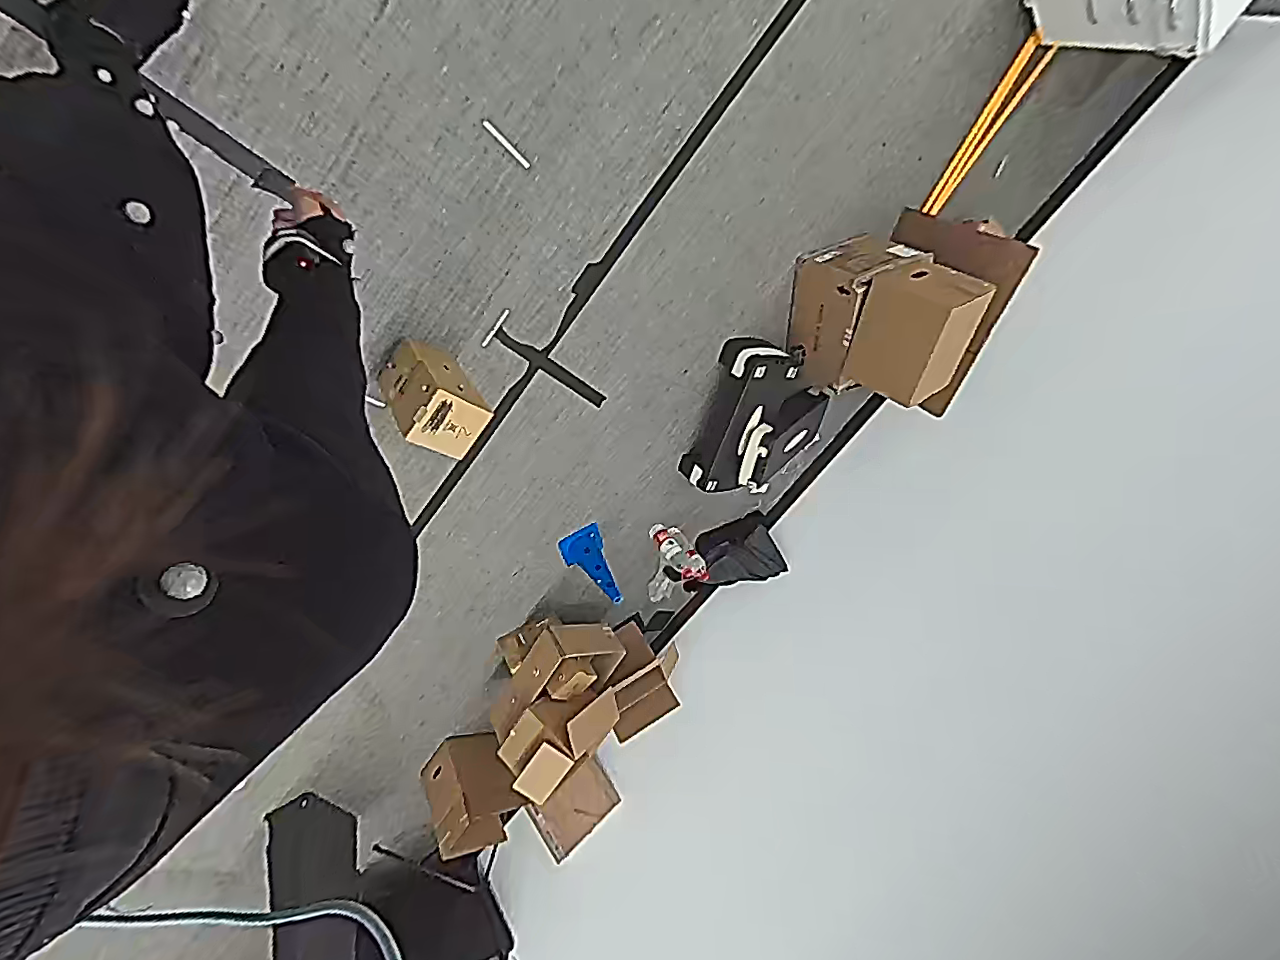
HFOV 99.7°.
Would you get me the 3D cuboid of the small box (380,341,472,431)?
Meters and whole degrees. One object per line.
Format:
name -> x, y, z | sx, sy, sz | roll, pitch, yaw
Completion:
small box -> -0.626, -0.276, 1.574 | 0.179, 0.176, 0.168 | 23, 109, -47
